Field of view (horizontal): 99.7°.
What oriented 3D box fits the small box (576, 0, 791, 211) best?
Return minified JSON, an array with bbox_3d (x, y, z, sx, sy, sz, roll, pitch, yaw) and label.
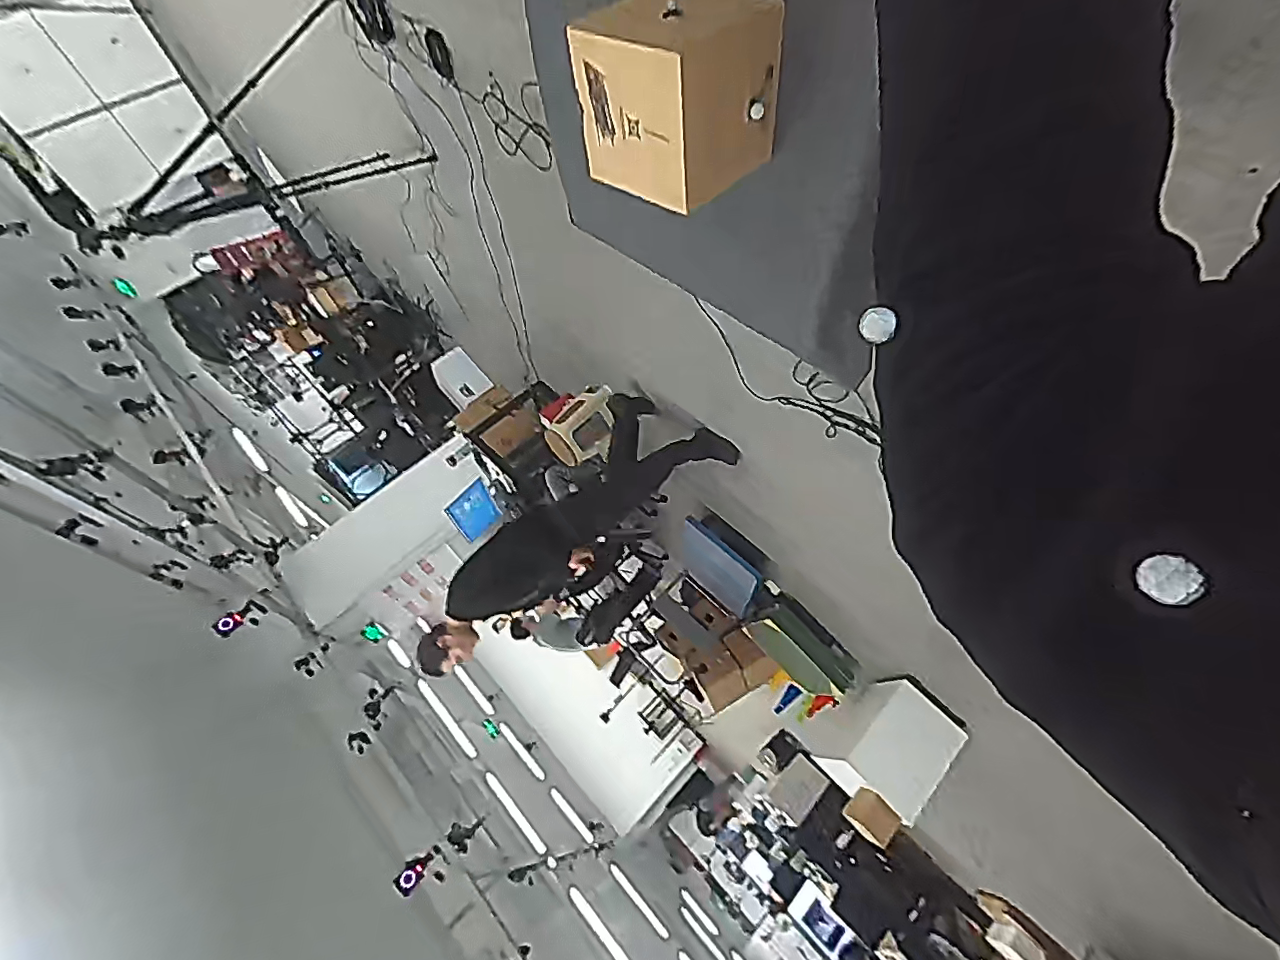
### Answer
[{"bbox_3d":[0.053,-0.463,0.651,0.179,0.176,0.168,38,158,28],"label":"small box"}]
